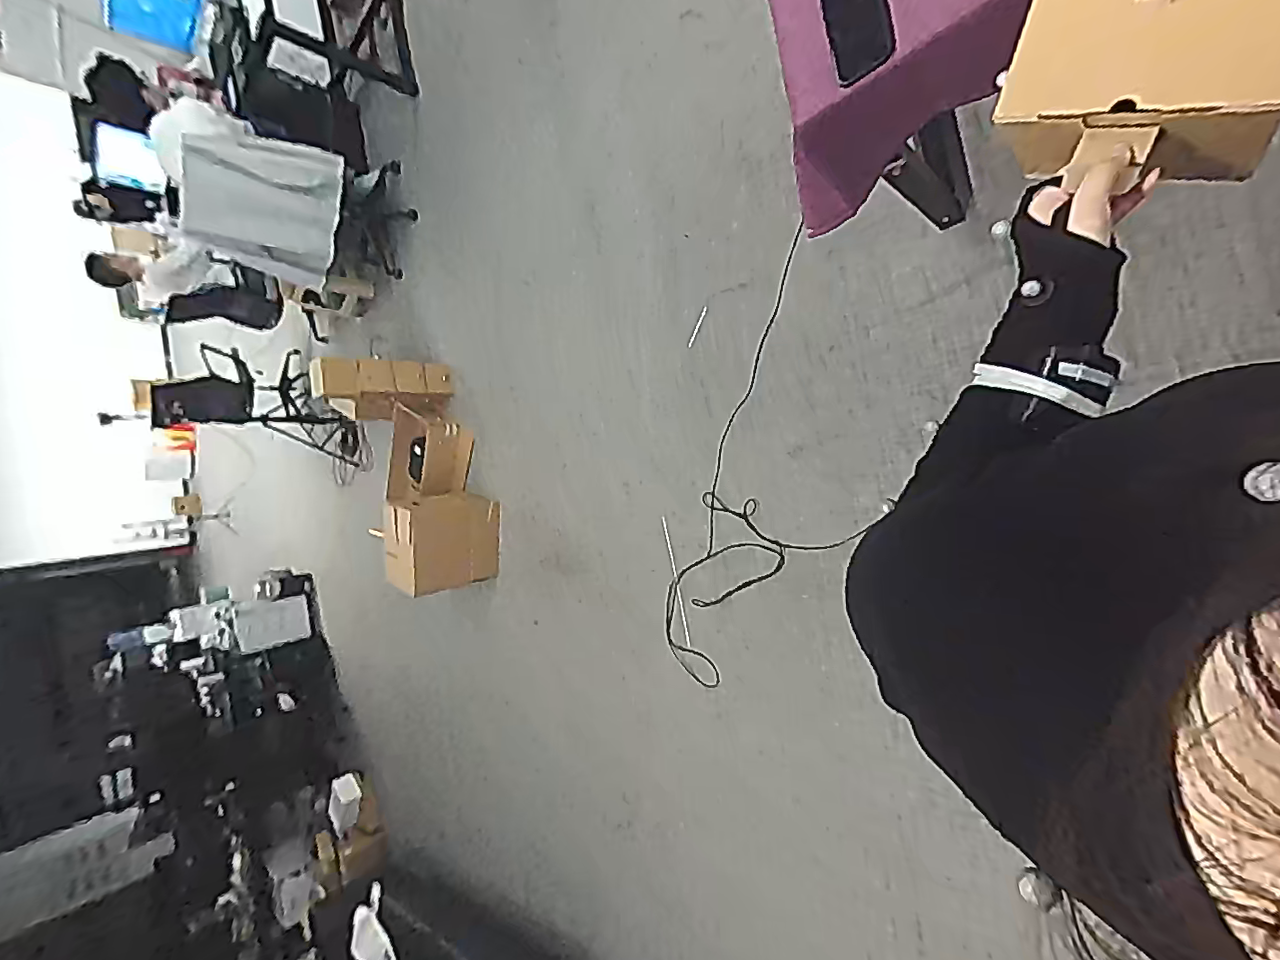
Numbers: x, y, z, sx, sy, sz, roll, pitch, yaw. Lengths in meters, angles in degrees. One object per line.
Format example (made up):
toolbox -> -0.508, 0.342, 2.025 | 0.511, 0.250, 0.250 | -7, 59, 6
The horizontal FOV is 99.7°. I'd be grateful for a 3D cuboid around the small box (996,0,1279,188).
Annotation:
small box -> 0.410, -0.346, 0.419 | 0.168, 0.176, 0.179 | 25, 114, 37
